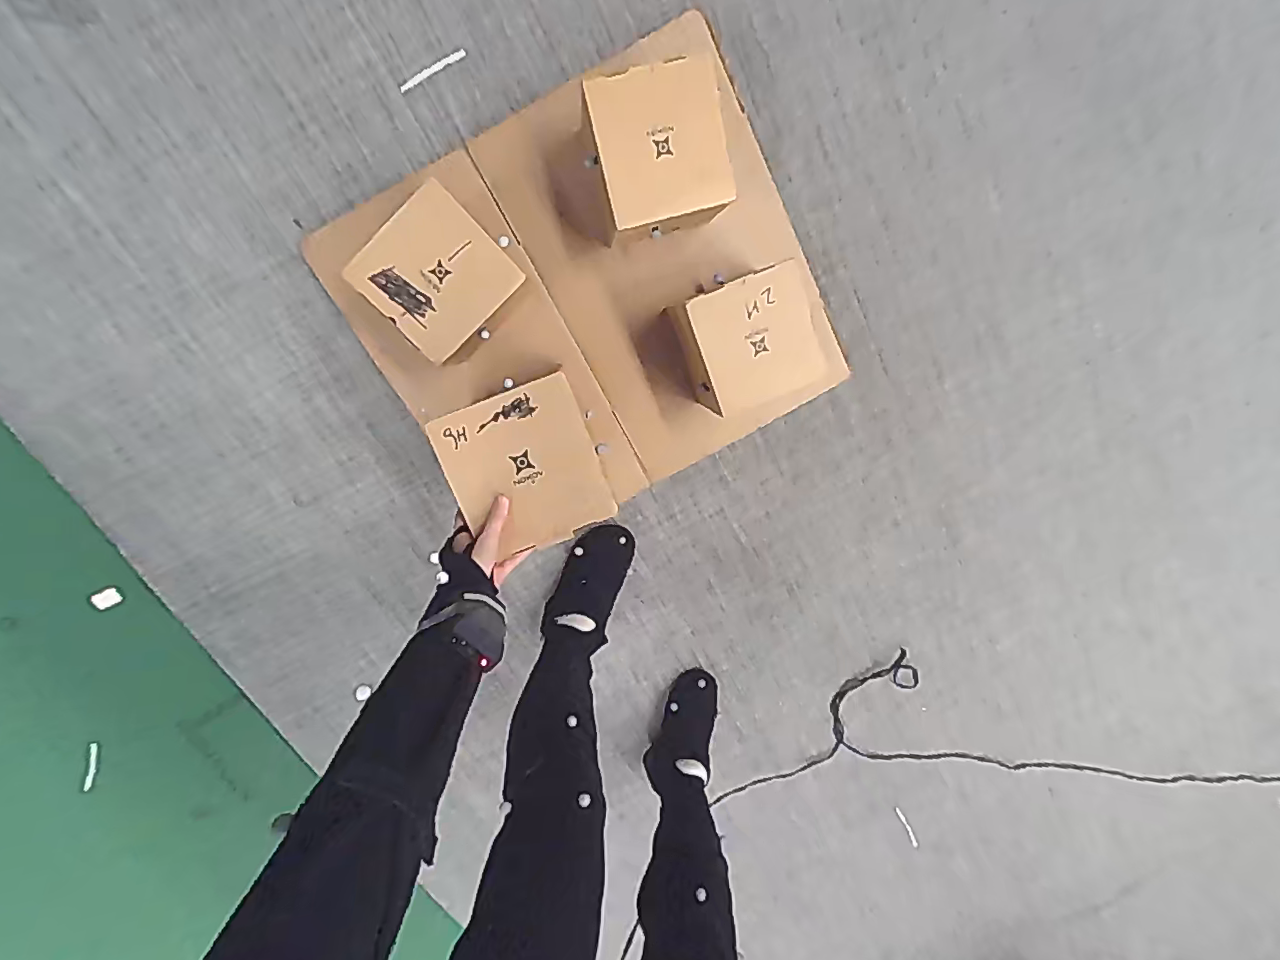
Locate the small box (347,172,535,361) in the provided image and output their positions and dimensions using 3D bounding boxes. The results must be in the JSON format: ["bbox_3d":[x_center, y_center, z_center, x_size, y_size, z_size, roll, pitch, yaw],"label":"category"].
[{"bbox_3d":[-0.269,-0.292,0.779,0.179,0.176,0.168,-42,105,5],"label":"small box"}]

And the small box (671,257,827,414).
[{"bbox_3d":[0.160,-0.220,0.835,0.168,0.176,0.179,-22,105,0],"label":"small box"}]

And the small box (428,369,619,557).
[{"bbox_3d":[-0.133,-0.030,0.682,0.168,0.176,0.179,-21,100,-2],"label":"small box"}]
